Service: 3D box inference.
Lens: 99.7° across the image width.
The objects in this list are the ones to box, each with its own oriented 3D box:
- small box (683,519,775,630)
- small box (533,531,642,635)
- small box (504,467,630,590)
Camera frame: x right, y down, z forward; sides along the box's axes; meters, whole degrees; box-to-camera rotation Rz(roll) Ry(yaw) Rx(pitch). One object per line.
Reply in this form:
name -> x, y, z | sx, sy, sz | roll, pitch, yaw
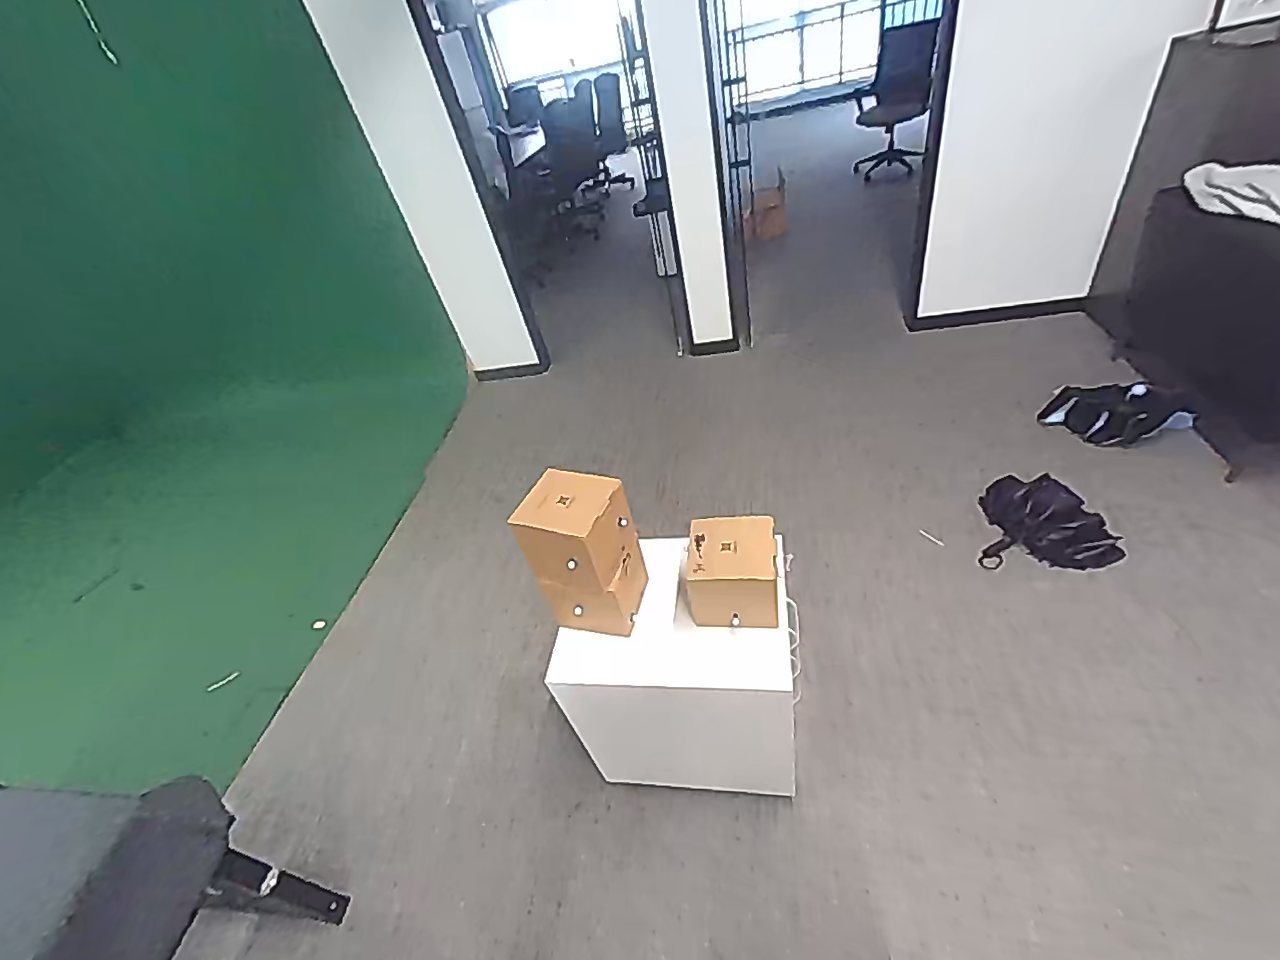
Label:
small box -> 0.192, 0.200, 1.137 | 0.179, 0.176, 0.168 | -1, 41, 13
small box -> -0.104, 0.220, 1.189 | 0.179, 0.176, 0.168 | 3, 42, 18
small box -> -0.135, 0.098, 1.088 | 0.179, 0.176, 0.168 | 8, 42, 23
